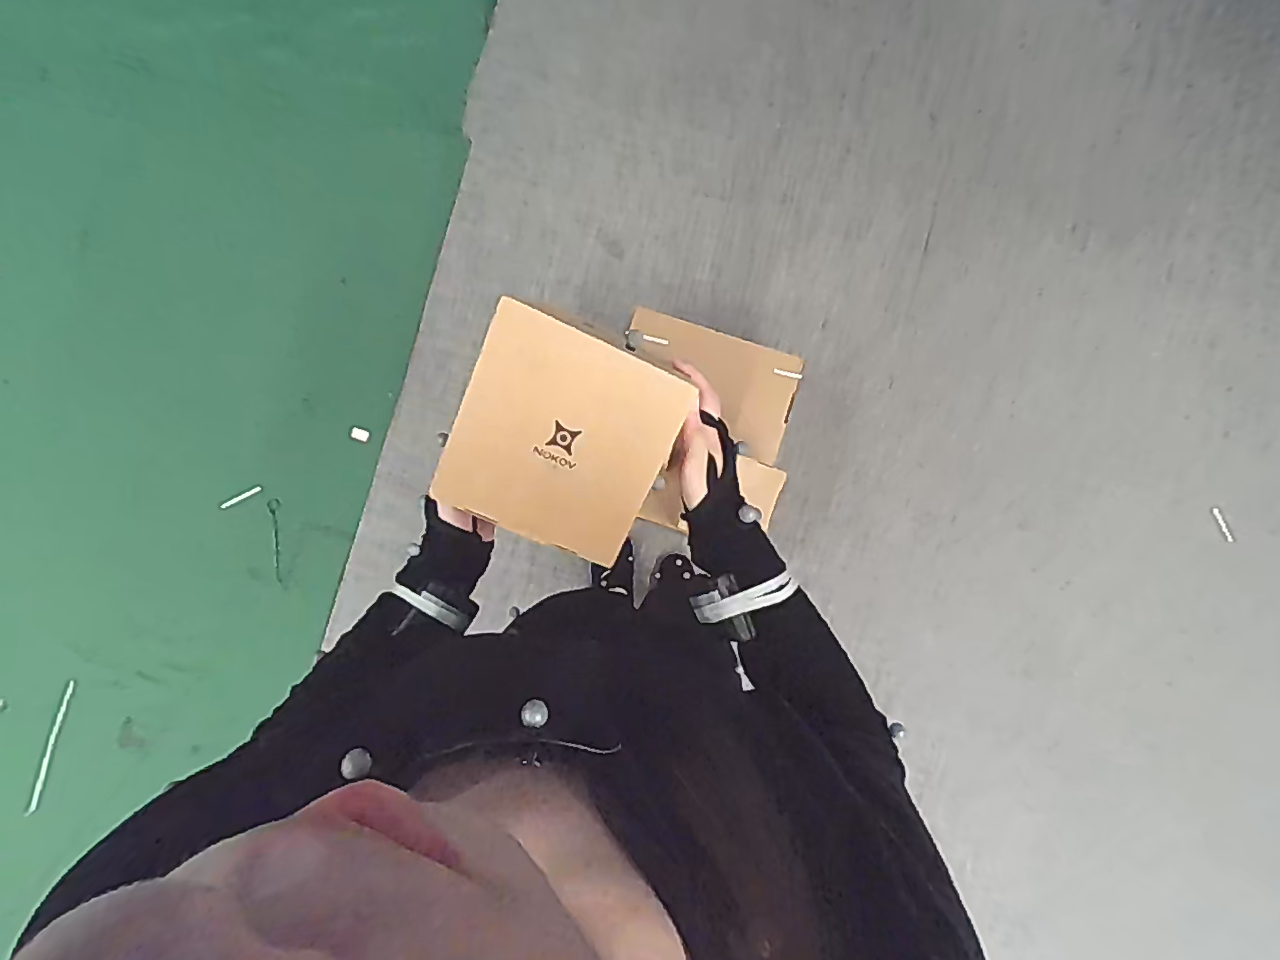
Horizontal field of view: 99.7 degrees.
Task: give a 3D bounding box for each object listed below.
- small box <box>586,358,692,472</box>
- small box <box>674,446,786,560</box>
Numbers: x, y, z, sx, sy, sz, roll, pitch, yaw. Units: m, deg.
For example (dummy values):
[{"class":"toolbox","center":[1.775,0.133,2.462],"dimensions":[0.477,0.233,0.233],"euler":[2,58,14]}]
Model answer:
[{"class":"small box","center":[0.001,-0.124,1.123],"dimensions":[0.168,0.176,0.179],"euler":[18,85,2]},{"class":"small box","center":[0.174,0.049,1.105],"dimensions":[0.168,0.176,0.179],"euler":[21,85,1]}]
